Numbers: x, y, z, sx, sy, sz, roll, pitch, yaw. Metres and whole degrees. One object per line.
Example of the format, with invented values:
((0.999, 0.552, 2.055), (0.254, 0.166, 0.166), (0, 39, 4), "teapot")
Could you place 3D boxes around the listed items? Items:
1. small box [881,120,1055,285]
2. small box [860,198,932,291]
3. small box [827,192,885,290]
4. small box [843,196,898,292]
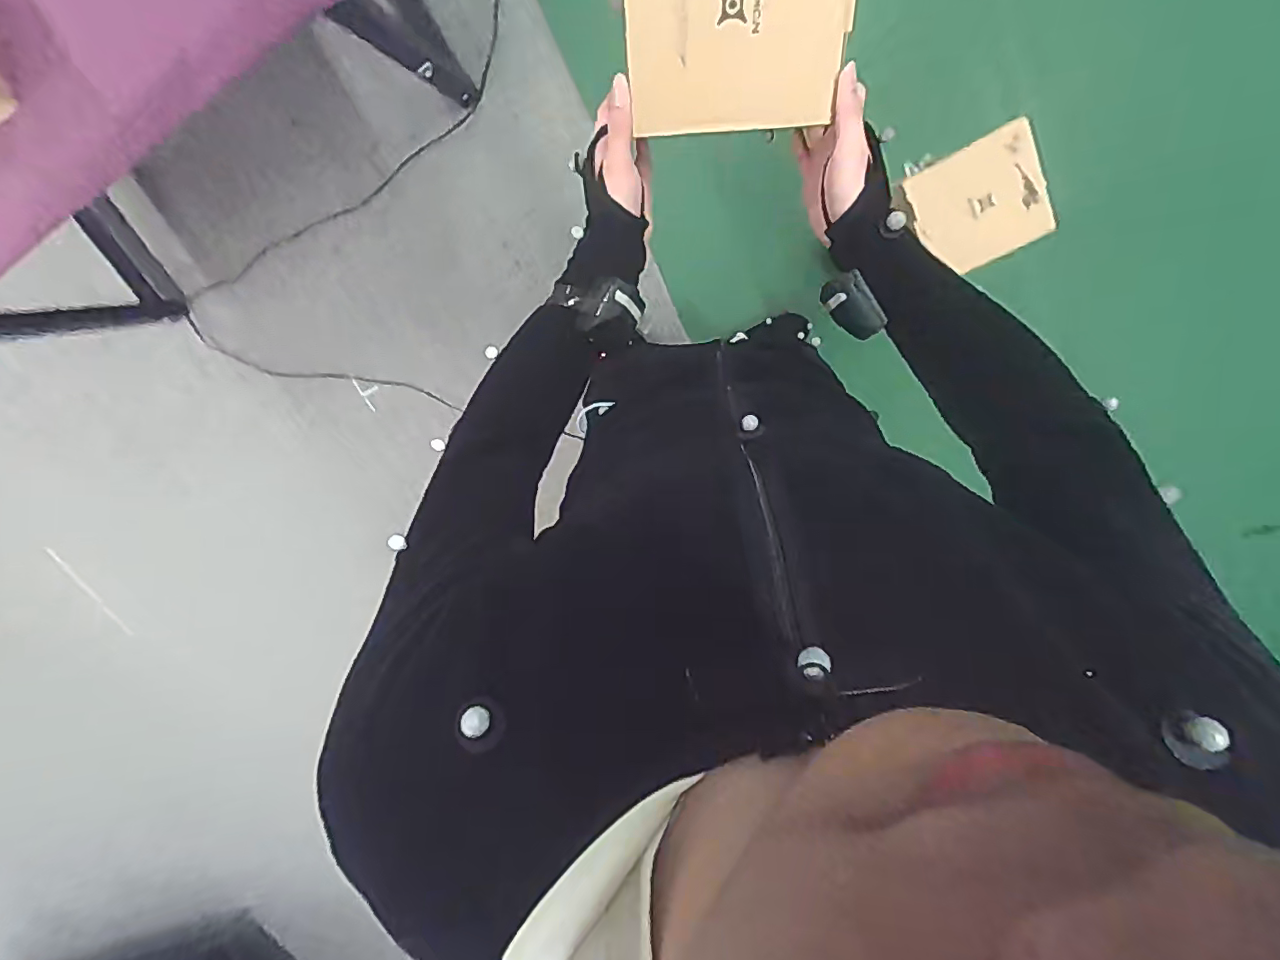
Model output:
((0.507, -0.428, 0.867), (0.179, 0.176, 0.168), (-24, 106, 15), "small box")
((0.542, -0.477, 1.021), (0.168, 0.176, 0.179), (-27, 106, 16), "small box")
((0.581, -0.589, 1.324), (0.168, 0.176, 0.179), (-27, 106, 15), "small box")
((0.564, -0.531, 1.174), (0.168, 0.176, 0.179), (-25, 106, 15), "small box")
